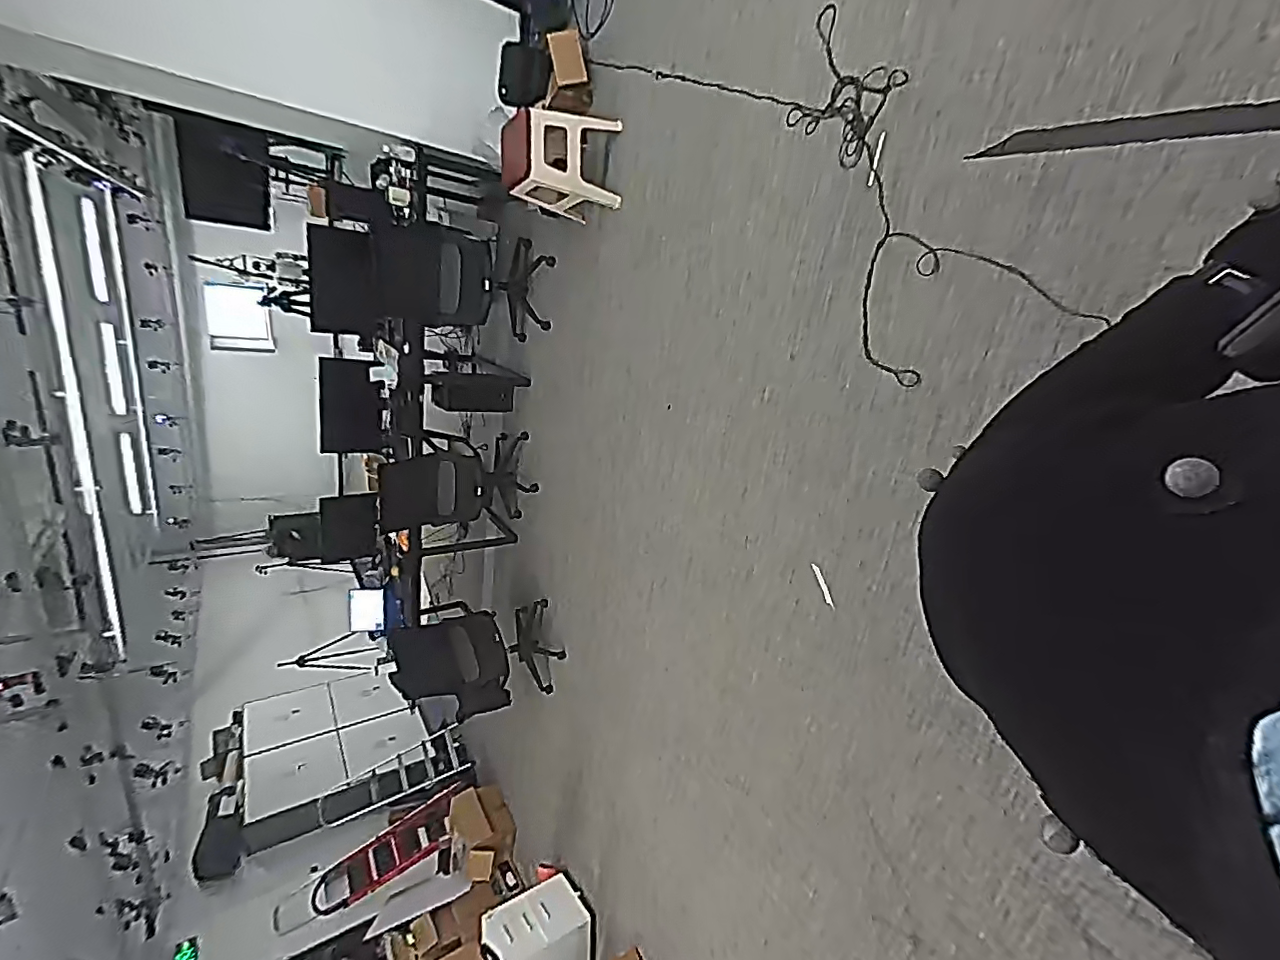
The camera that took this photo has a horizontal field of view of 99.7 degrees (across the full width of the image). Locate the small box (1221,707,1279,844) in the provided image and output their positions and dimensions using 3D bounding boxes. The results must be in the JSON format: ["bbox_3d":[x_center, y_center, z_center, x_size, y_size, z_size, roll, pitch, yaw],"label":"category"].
[{"bbox_3d":[1.140,0.519,0.913,0.168,0.176,0.179,24,114,52],"label":"small box"}]
